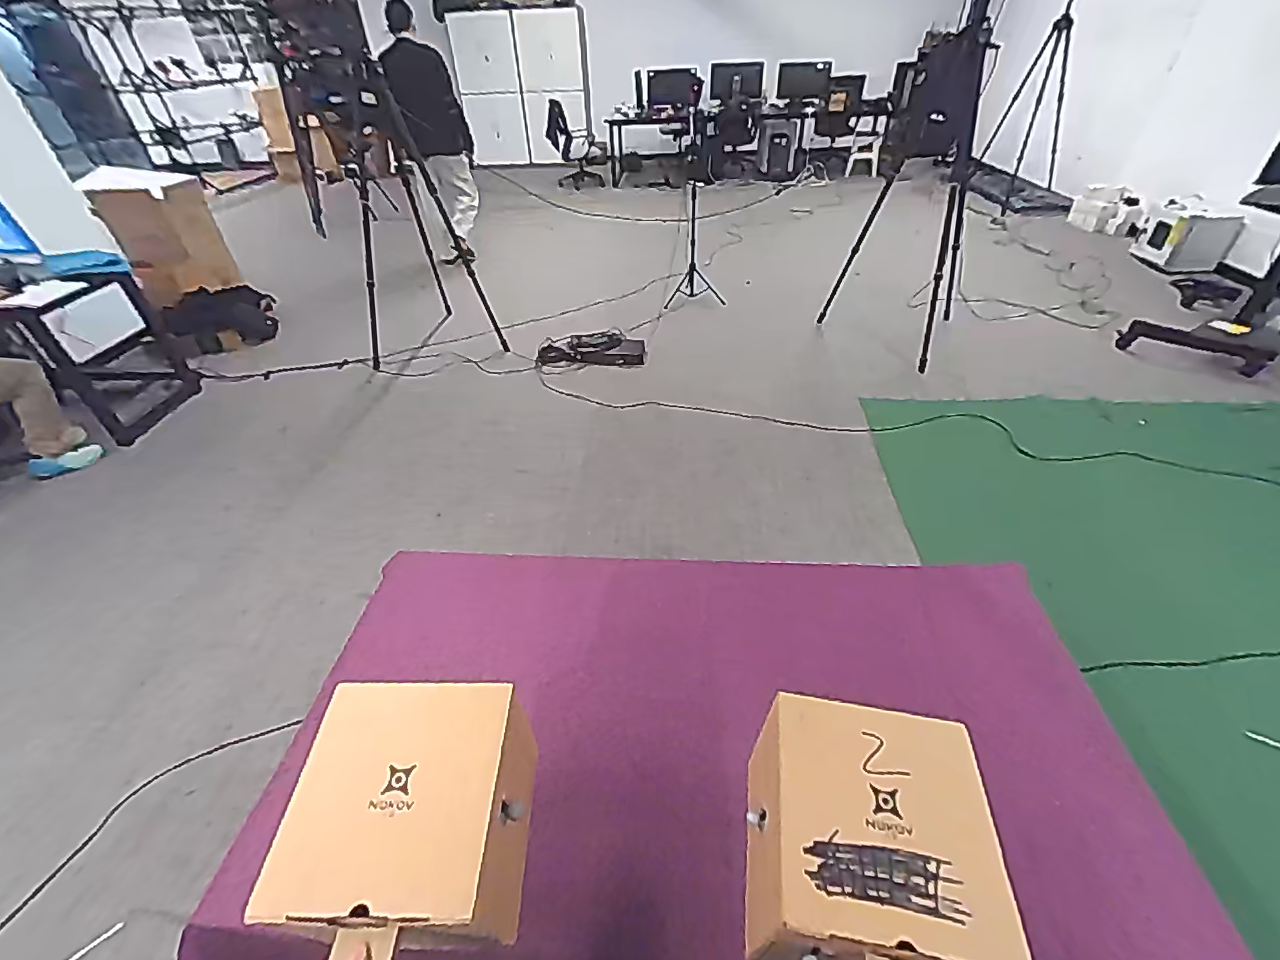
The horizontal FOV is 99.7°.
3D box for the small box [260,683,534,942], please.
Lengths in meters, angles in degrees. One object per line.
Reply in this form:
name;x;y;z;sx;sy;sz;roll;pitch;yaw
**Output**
small box;-0.201;0.314;0.513;0.168;0.176;0.179;0;46;1
